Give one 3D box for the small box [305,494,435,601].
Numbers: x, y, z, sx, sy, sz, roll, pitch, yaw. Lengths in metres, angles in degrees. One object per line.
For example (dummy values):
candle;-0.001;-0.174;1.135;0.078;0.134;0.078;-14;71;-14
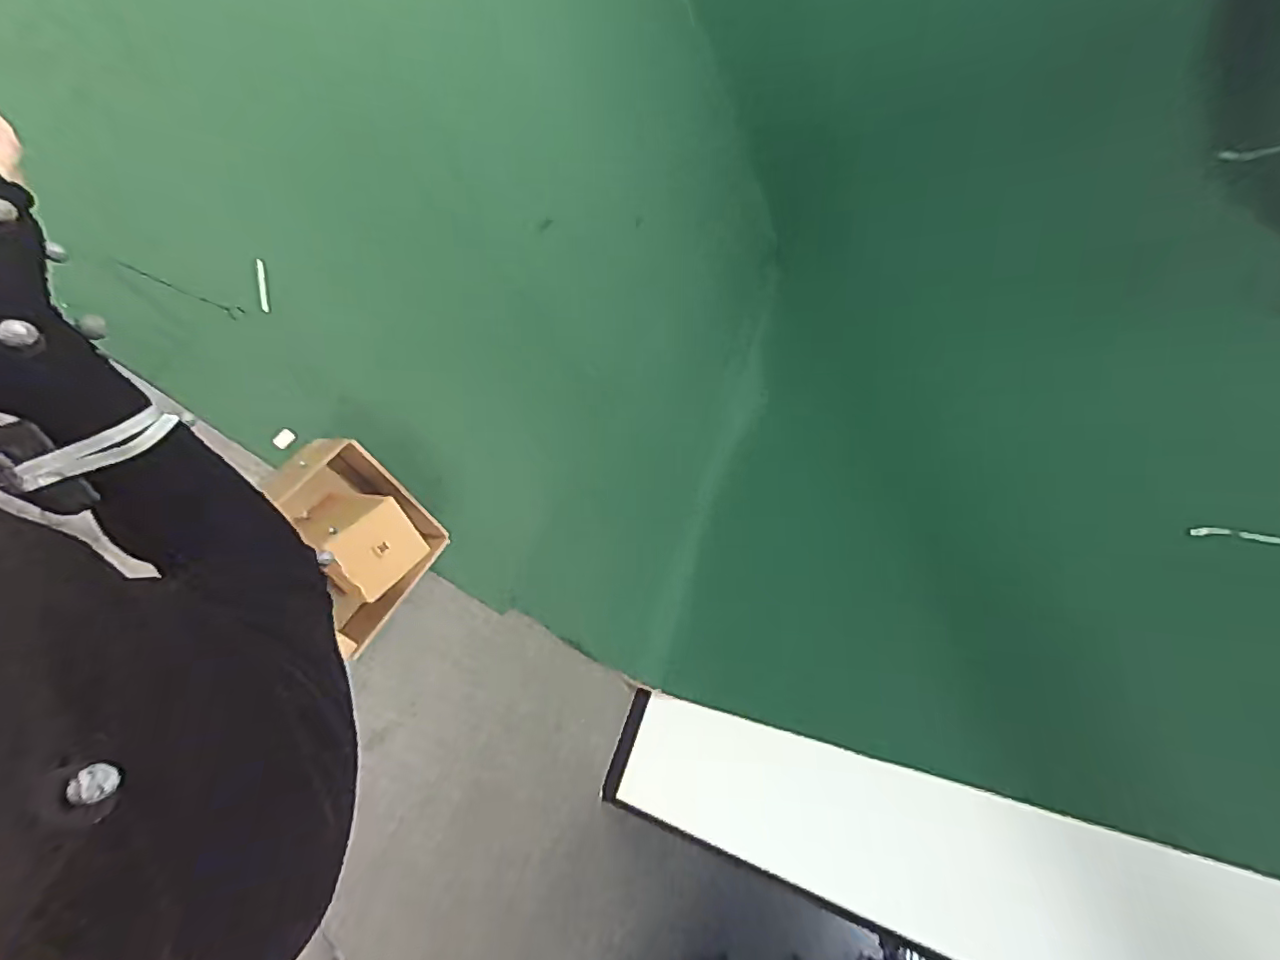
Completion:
small box;-0.620;0.146;1.243;0.179;0.176;0.168;-47;126;-37
